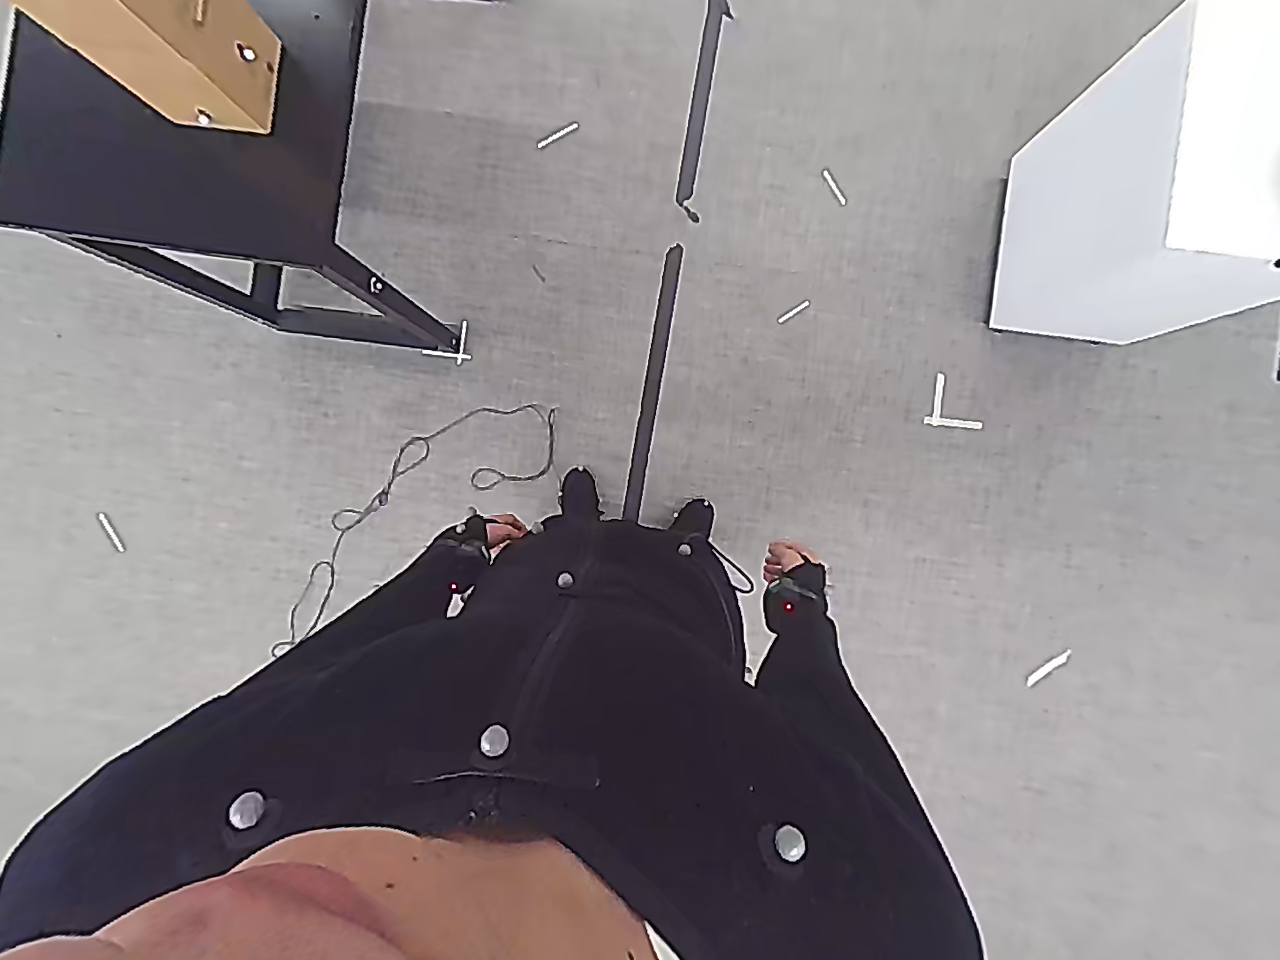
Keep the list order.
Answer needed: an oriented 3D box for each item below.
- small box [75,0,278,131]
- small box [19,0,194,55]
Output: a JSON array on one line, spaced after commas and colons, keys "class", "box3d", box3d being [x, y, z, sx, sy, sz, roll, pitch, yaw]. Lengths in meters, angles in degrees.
[{"class": "small box", "box3d": [-0.715, -0.689, 0.854, 0.179, 0.176, 0.168, 7, 90, 1]}, {"class": "small box", "box3d": [-0.721, -0.690, 0.689, 0.179, 0.176, 0.168, 7, 91, 1]}]
